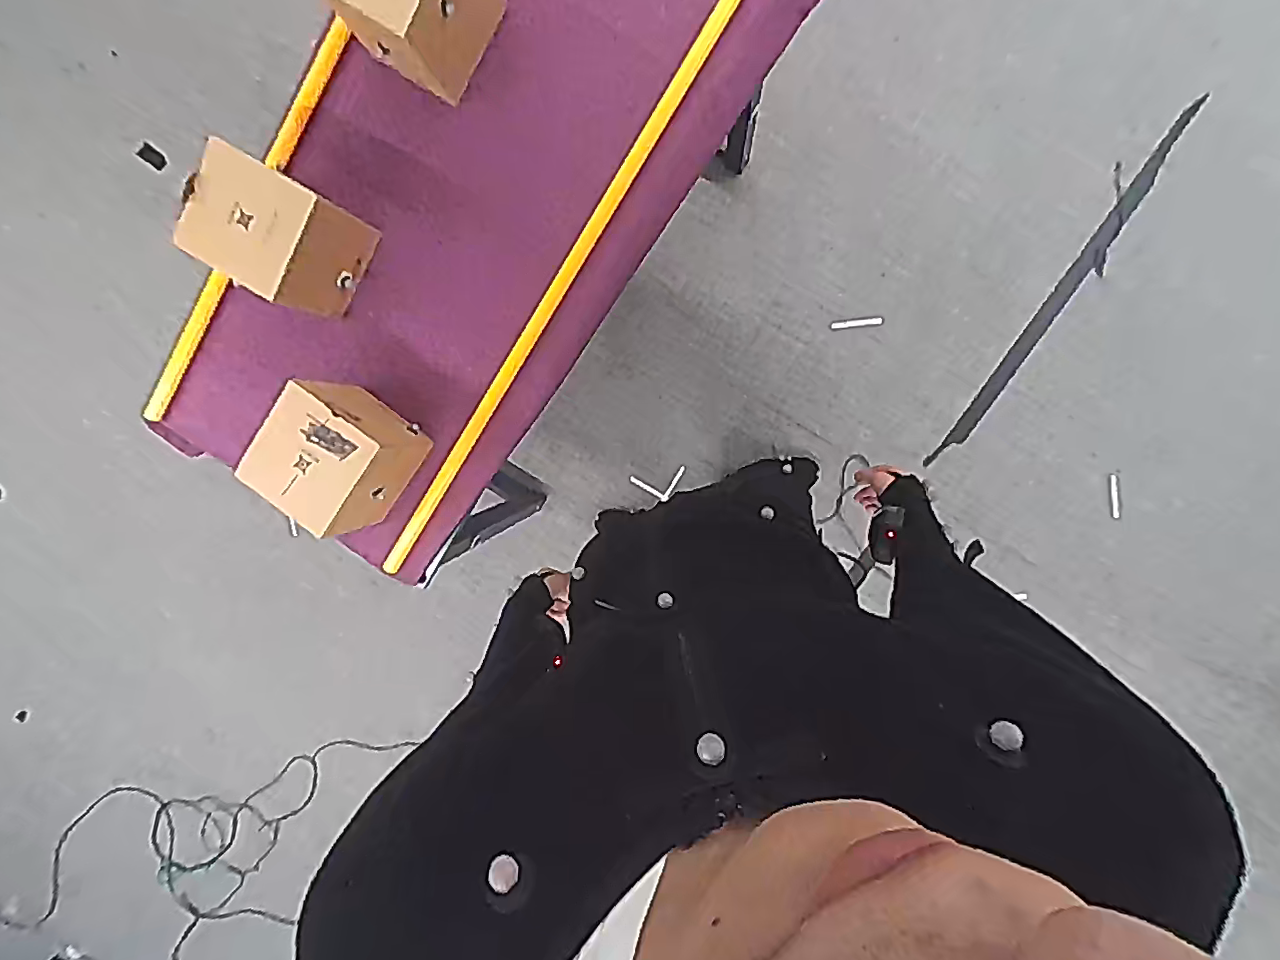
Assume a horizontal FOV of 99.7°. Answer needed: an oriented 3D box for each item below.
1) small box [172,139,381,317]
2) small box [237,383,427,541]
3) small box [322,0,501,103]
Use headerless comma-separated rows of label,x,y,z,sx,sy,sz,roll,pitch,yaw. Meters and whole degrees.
small box,-0.551,-0.373,0.840,0.179,0.176,0.168,30,99,1
small box,-0.473,-0.033,0.864,0.168,0.176,0.179,37,98,1
small box,-0.327,-0.701,0.781,0.168,0.176,0.179,33,98,1
